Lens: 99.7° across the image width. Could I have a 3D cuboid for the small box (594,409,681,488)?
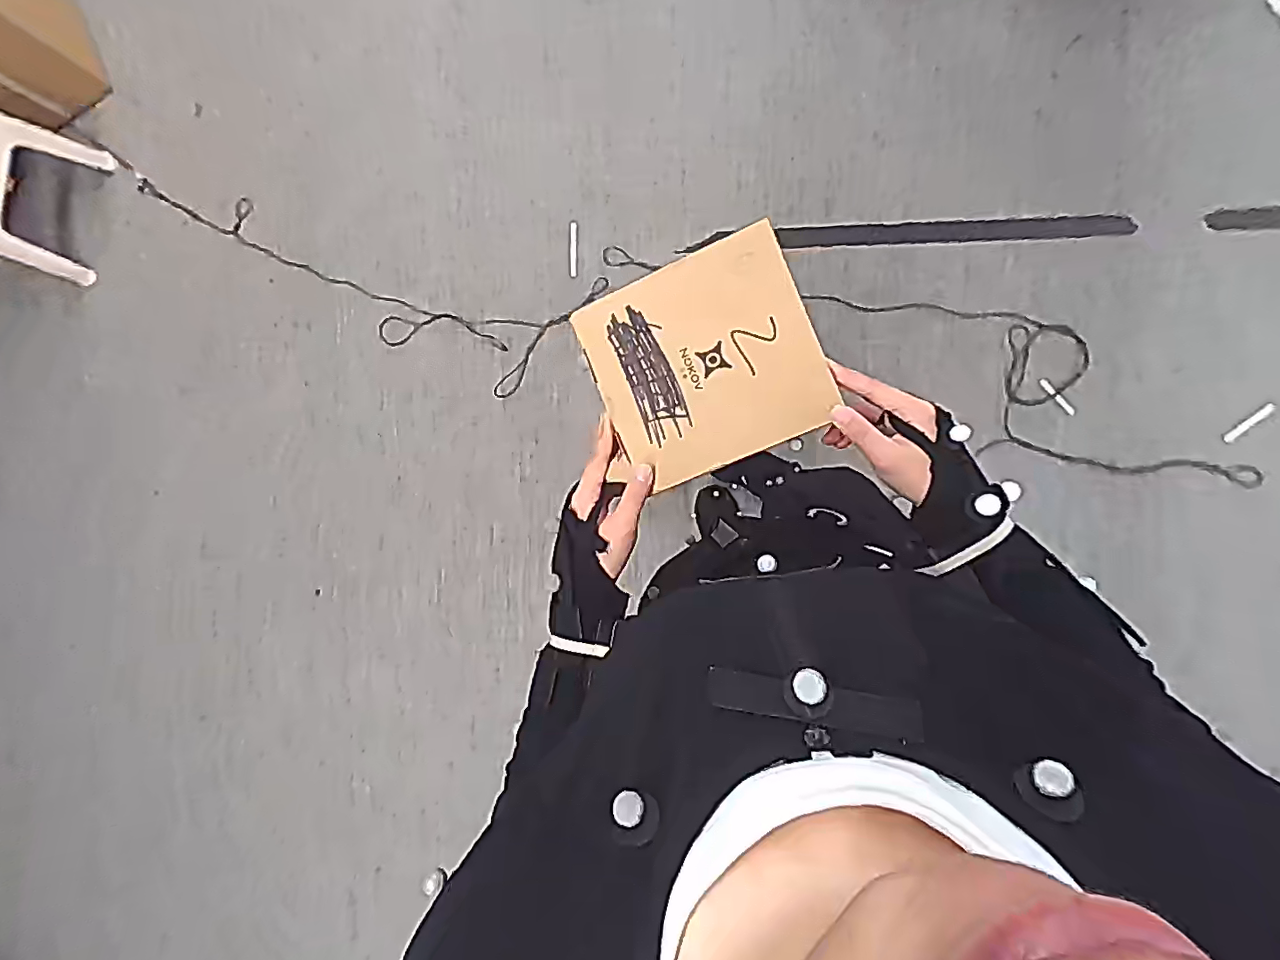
[{"bbox_3d":[-0.001,-0.075,1.303,0.179,0.176,0.168,7,94,6],"label":"small box"}]
